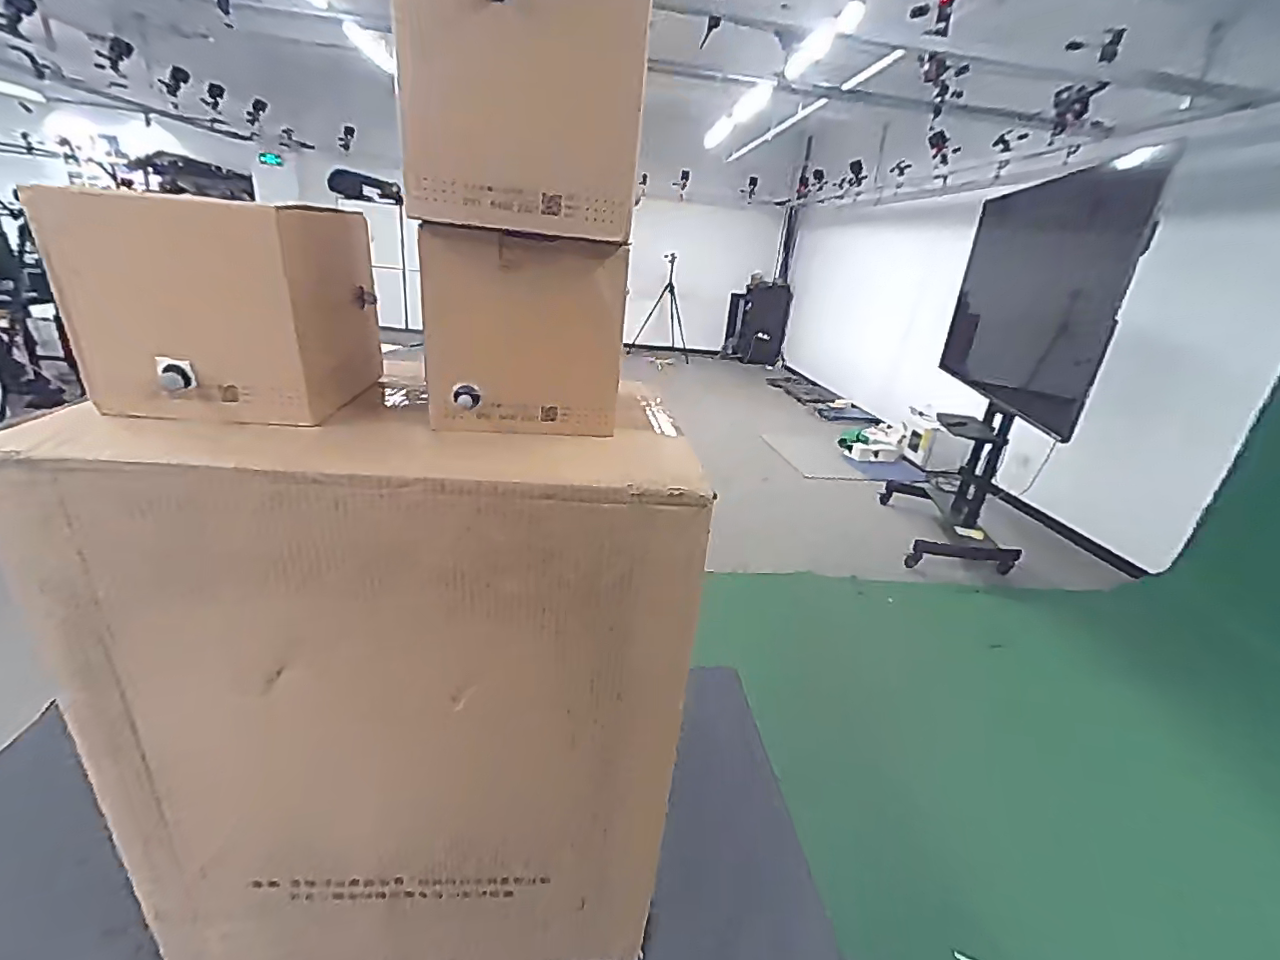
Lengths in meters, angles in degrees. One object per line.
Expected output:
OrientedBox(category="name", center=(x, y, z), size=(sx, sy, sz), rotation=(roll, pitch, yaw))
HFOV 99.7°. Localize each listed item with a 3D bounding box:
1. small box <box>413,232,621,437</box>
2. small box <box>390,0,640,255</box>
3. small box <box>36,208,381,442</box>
OrientedBox(category="small box", center=(-0.112, -0.145, 0.532), size=(0.168, 0.176, 0.179), rotation=(0, 23, -11))
OrientedBox(category="small box", center=(-0.098, -0.286, 0.448), size=(0.168, 0.176, 0.179), rotation=(1, 24, -10))
OrientedBox(category="small box", center=(-0.350, -0.143, 0.488), size=(0.168, 0.176, 0.179), rotation=(0, 26, -6))
